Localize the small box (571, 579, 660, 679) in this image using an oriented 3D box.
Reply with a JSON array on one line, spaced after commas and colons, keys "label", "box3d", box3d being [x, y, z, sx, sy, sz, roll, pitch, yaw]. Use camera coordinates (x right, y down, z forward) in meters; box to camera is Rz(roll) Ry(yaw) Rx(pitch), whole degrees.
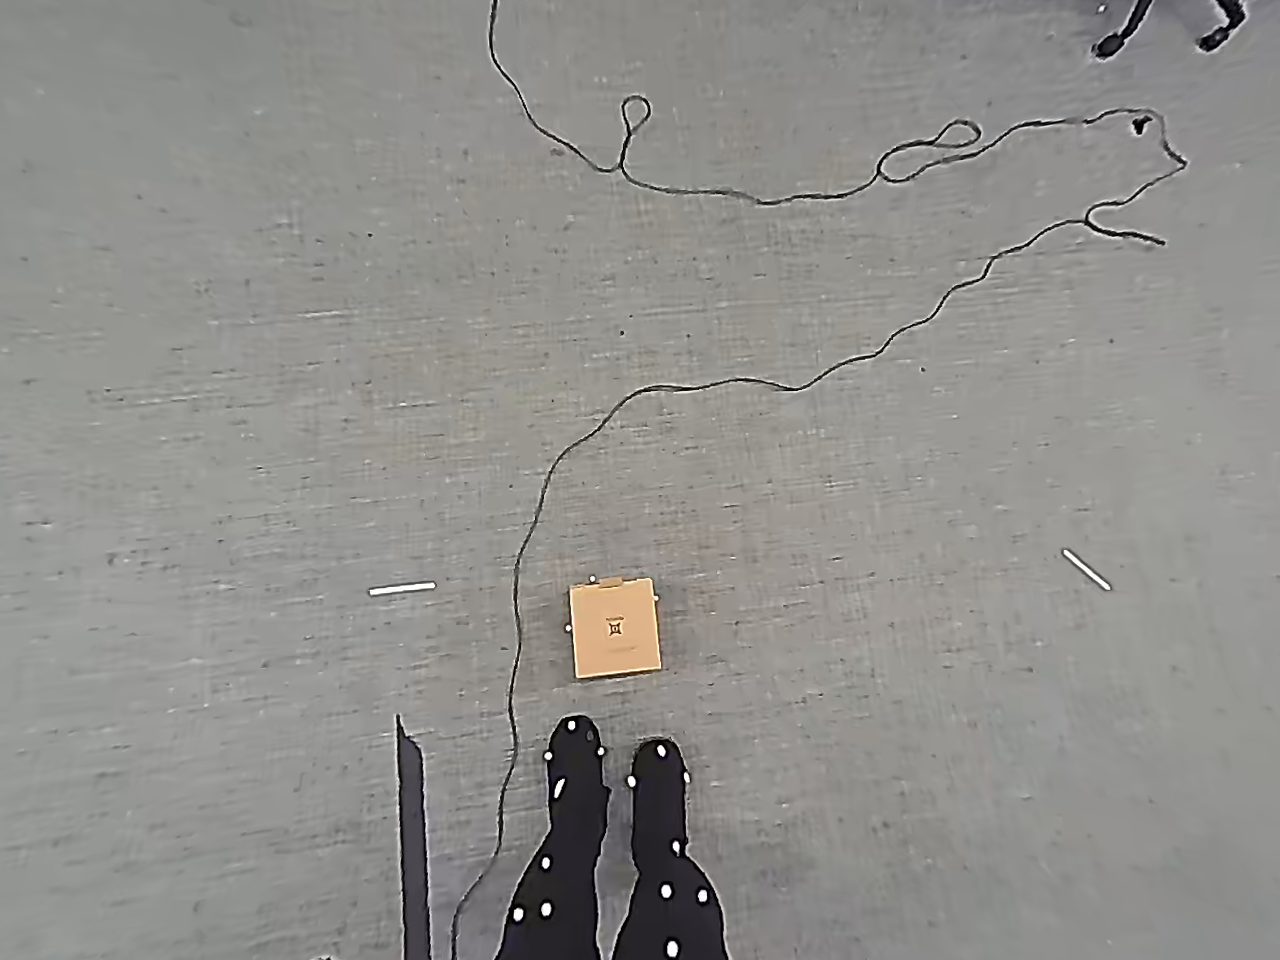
[{"label": "small box", "box3d": [-0.054, 0.302, 1.121, 0.168, 0.176, 0.179, -4, 80, -5]}]
